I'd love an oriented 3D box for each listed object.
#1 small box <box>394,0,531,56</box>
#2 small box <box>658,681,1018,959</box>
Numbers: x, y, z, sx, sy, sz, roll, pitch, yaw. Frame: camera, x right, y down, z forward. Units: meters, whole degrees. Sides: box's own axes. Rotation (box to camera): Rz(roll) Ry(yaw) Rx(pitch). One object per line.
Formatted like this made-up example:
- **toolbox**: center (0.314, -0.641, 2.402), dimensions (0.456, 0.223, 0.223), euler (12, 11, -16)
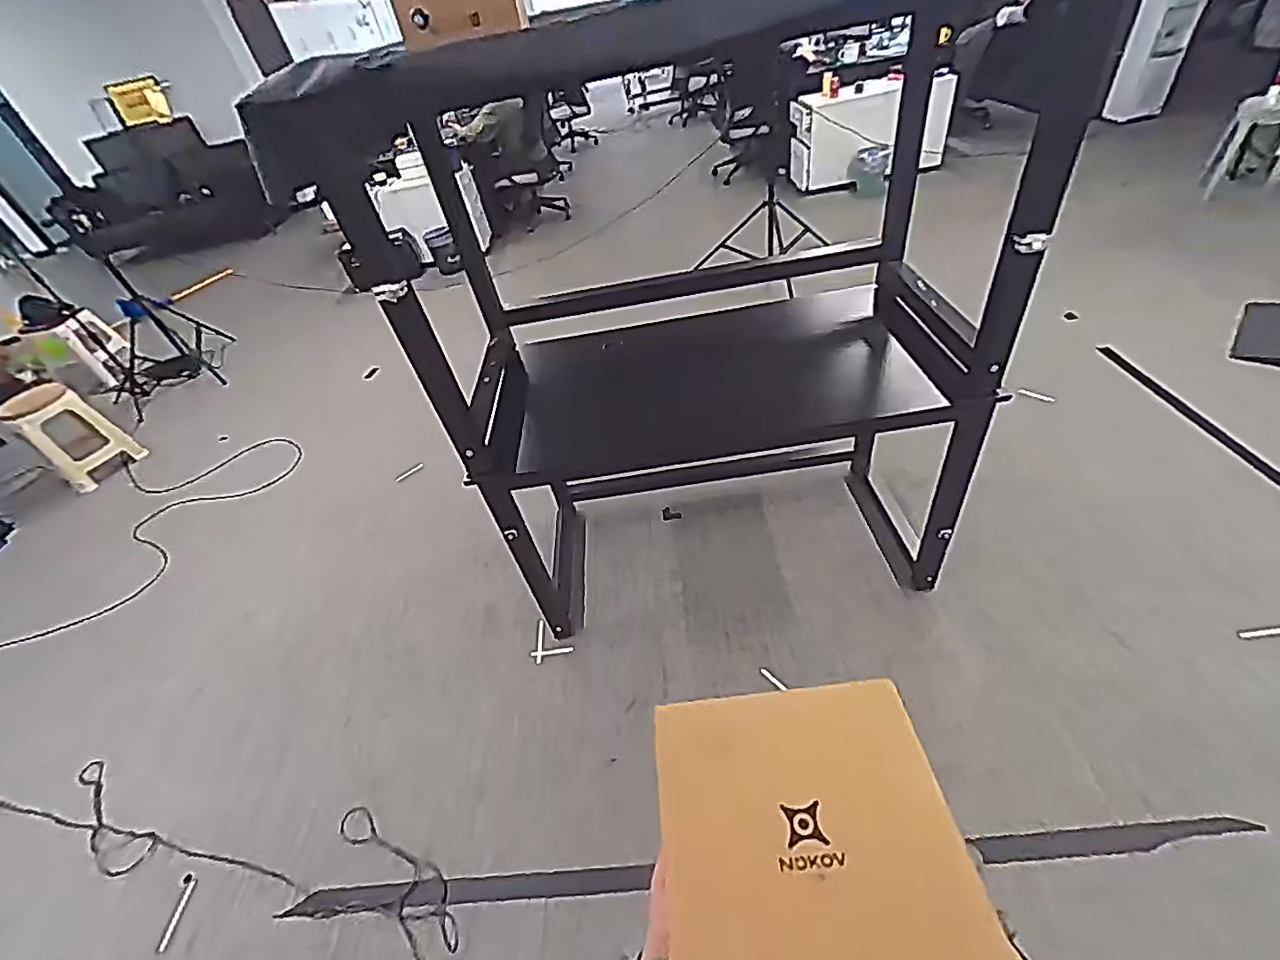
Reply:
- **small box**: center (-0.257, -0.714, 0.758), dimensions (0.168, 0.176, 0.179), euler (-10, 40, 1)
- **small box**: center (0.105, 0.262, 0.353), dimensions (0.168, 0.176, 0.179), euler (-8, 38, 3)
